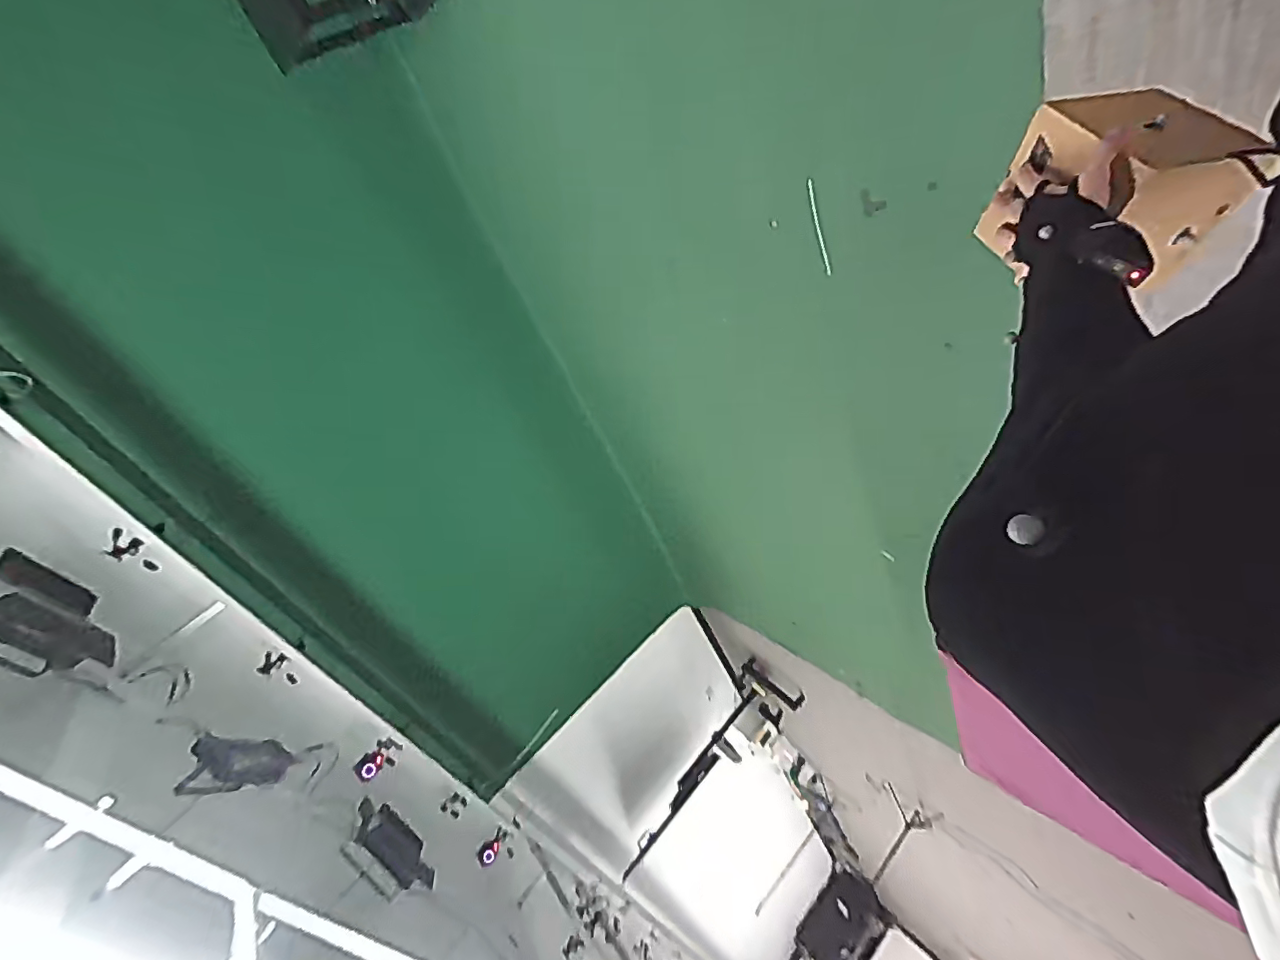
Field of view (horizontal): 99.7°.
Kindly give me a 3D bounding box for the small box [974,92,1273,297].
[{"bbox_3d":[0.575,-0.355,0.668,0.168,0.176,0.179,88,167,-54],"label":"small box"}]
